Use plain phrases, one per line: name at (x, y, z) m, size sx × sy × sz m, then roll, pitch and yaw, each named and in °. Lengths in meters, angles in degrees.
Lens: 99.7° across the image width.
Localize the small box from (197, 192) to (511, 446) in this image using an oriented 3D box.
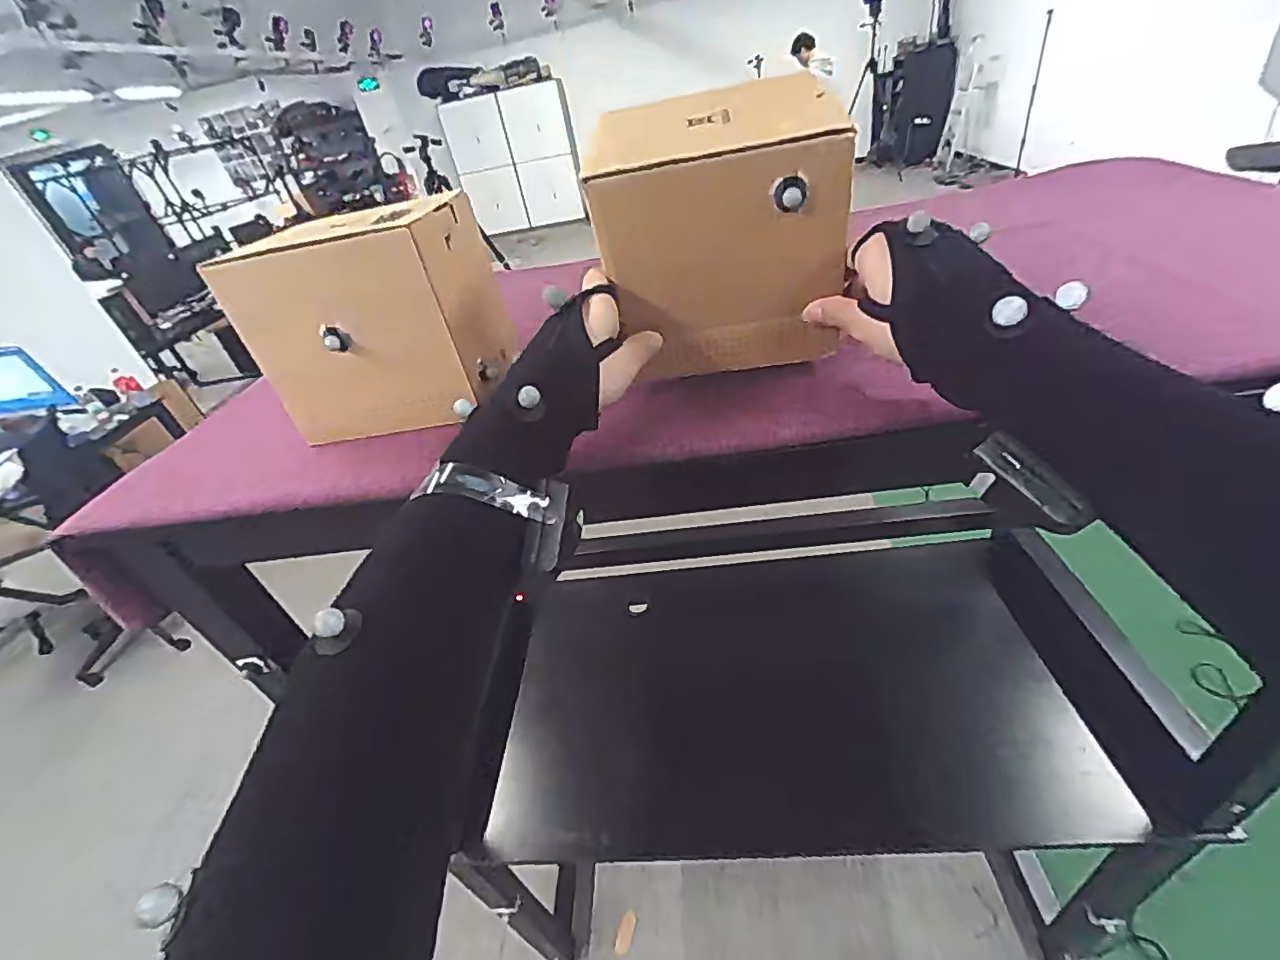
small box at (-0.239, -0.152, 0.513) m, size 0.179 × 0.176 × 0.168 m, roll -9°, pitch 35°, yaw 7°

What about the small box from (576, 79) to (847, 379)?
small box at (0.061, -0.200, 0.450) m, size 0.179 × 0.176 × 0.168 m, roll -6°, pitch 46°, yaw 9°
